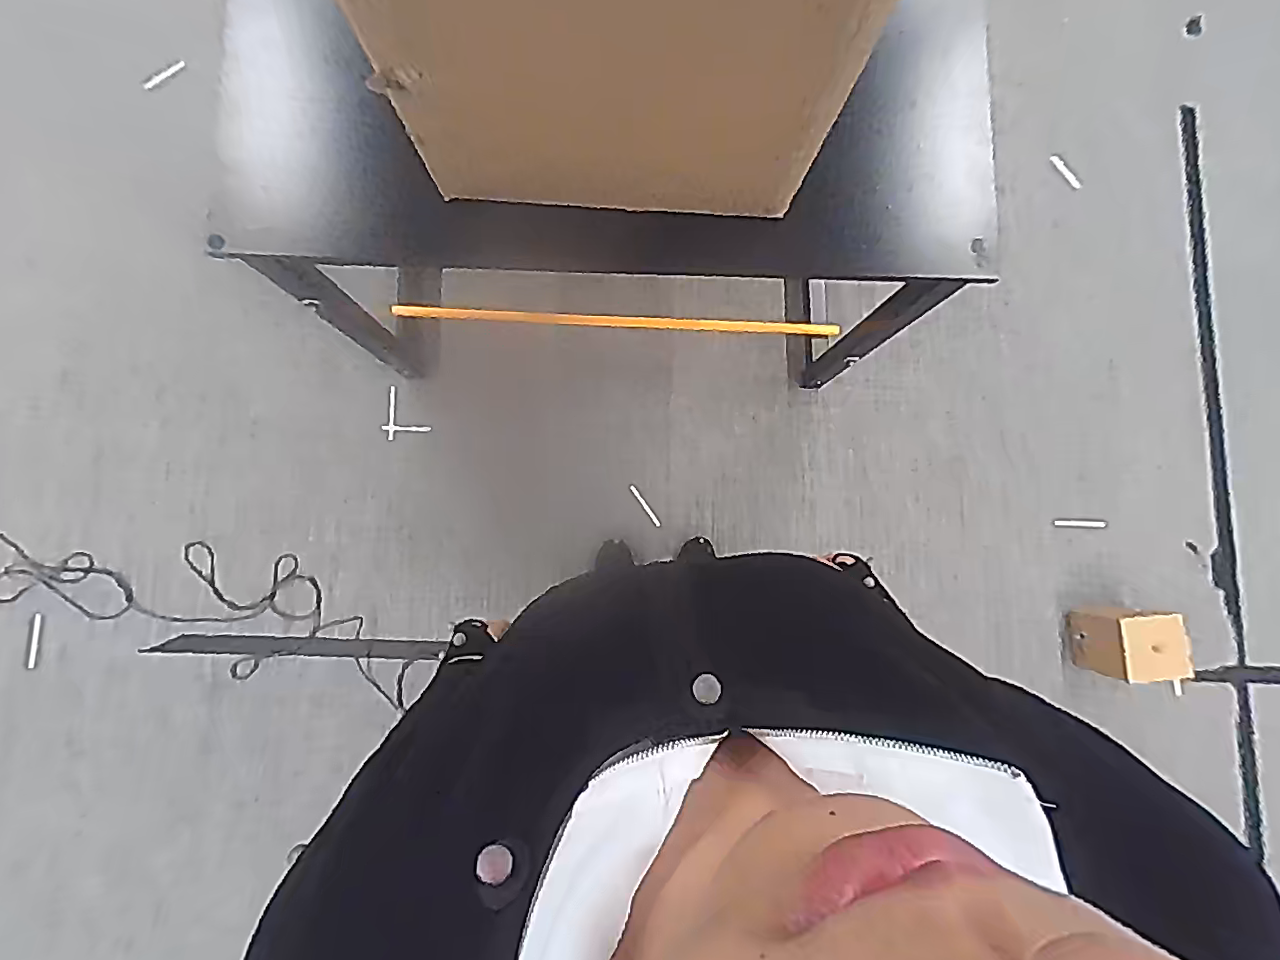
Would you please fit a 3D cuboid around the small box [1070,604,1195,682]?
[{"bbox_3d":[1.323,0.435,1.464,0.179,0.176,0.168,-5,84,-2],"label":"small box"}]
